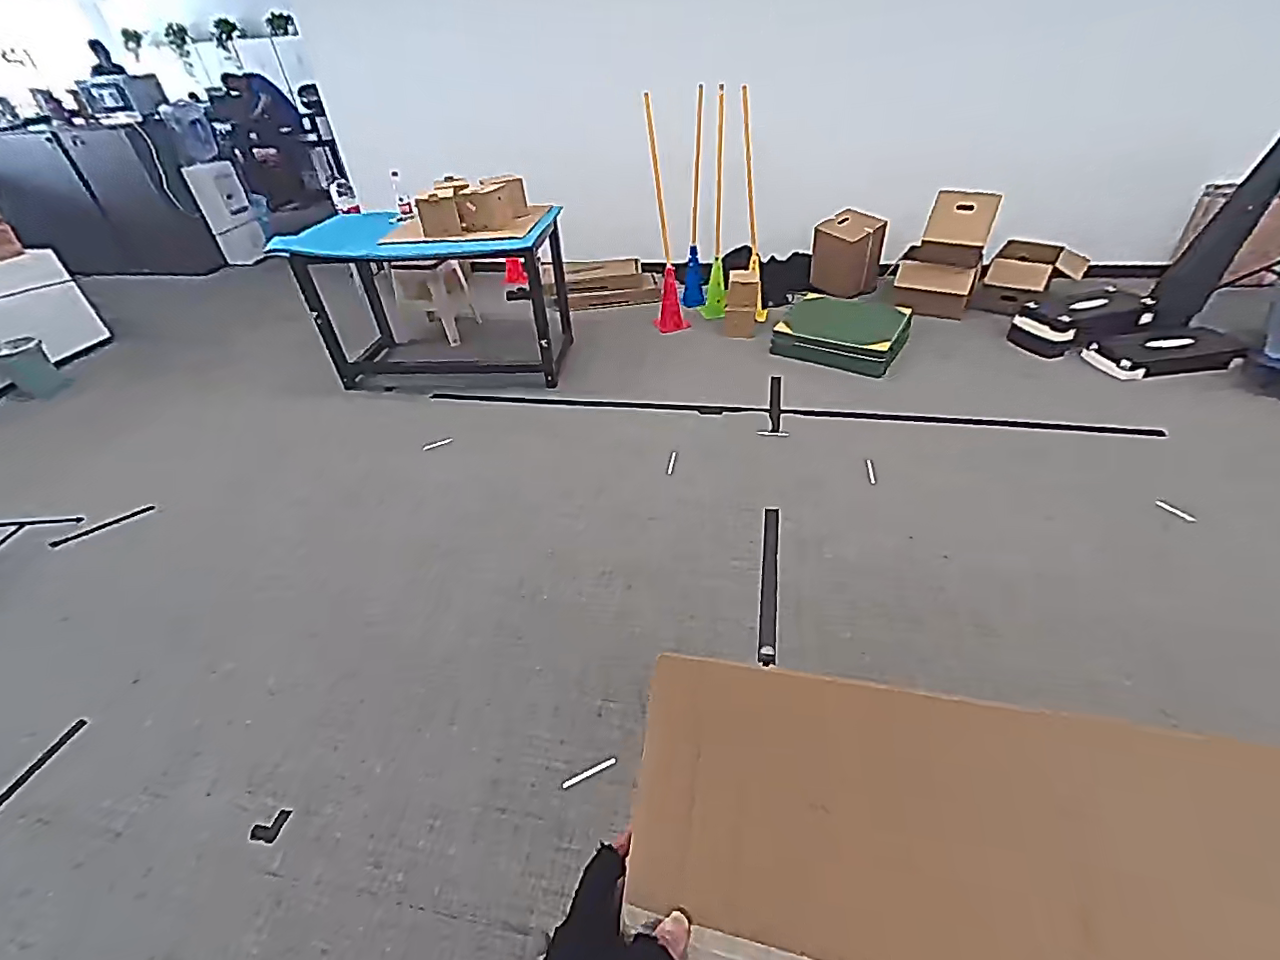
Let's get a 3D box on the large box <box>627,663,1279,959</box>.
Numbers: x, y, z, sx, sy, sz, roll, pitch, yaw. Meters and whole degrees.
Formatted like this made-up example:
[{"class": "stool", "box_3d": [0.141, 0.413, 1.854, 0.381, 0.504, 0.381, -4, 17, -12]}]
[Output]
[{"class": "large box", "box_3d": [0.221, 0.333, 0.416, 0.408, 0.320, 0.320, 3, 72, 17]}]
